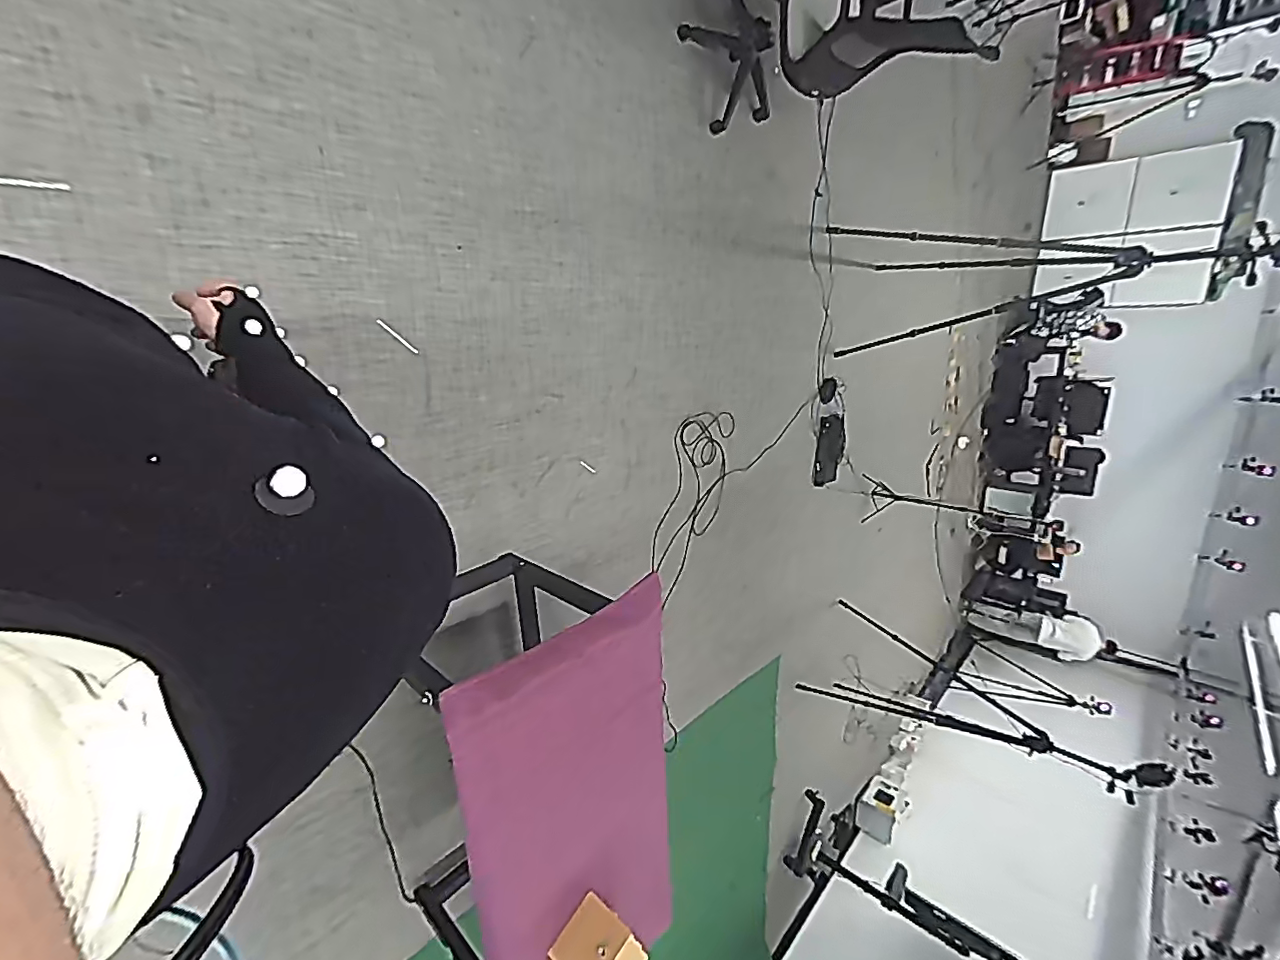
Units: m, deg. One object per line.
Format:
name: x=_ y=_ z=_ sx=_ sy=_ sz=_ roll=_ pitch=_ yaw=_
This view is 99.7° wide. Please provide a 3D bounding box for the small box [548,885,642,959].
small box: x=-0.128 y=1.275 z=1.480 sx=0.179 sy=0.176 sz=0.168 roll=-41 pitch=127 yaw=-33
